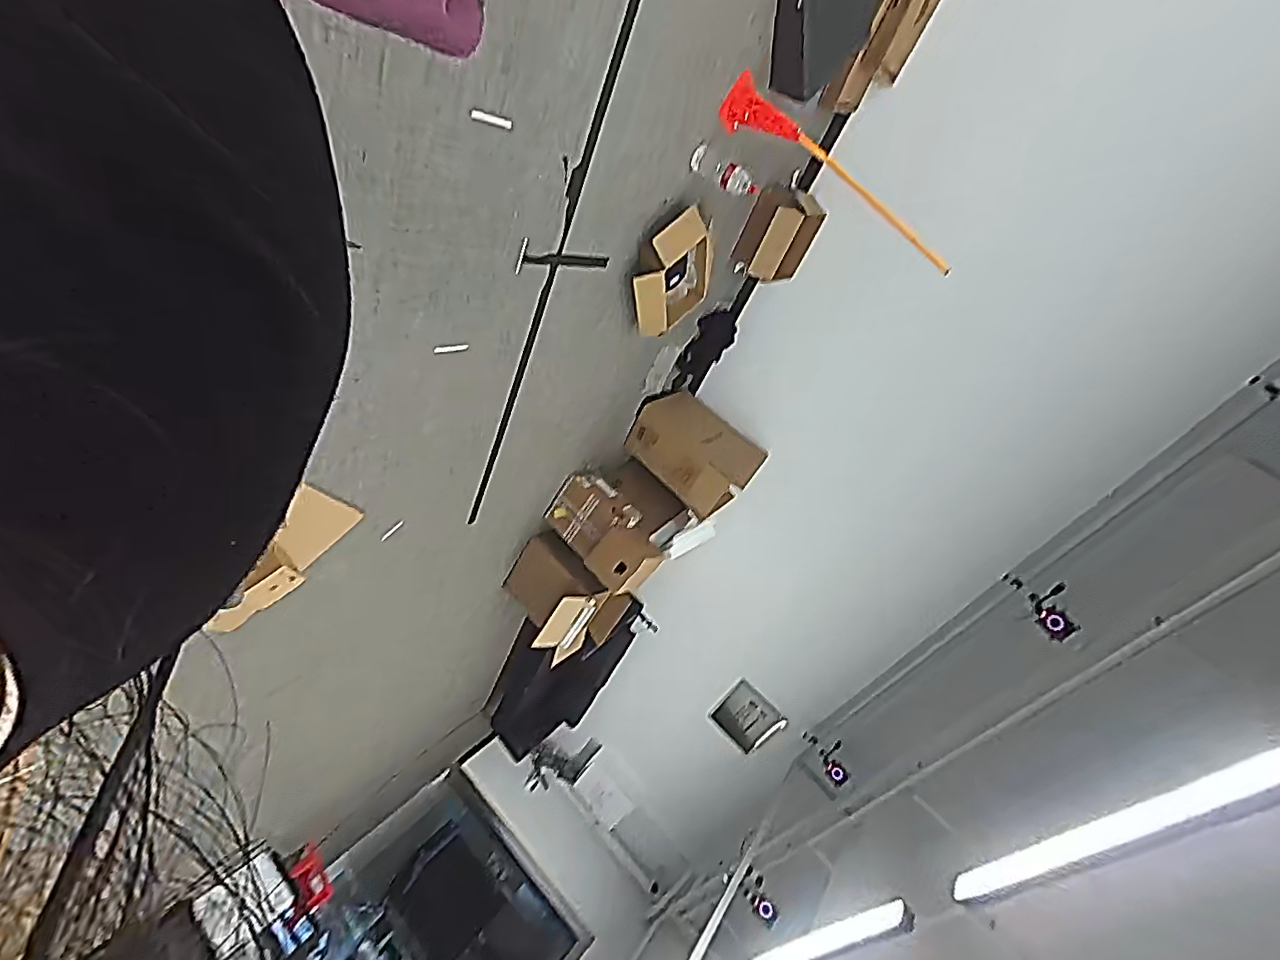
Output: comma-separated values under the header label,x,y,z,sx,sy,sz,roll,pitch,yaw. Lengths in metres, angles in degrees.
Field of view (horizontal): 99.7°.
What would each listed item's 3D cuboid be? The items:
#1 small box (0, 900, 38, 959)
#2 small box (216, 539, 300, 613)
label,x,y,z,sx,sy,sz,roll,pitch,yaw
small box,-1.520,1.111,1.231,0.168,0.176,0.179,-27,152,-50
small box,-1.408,0.350,1.985,0.179,0.176,0.168,-38,160,-21
